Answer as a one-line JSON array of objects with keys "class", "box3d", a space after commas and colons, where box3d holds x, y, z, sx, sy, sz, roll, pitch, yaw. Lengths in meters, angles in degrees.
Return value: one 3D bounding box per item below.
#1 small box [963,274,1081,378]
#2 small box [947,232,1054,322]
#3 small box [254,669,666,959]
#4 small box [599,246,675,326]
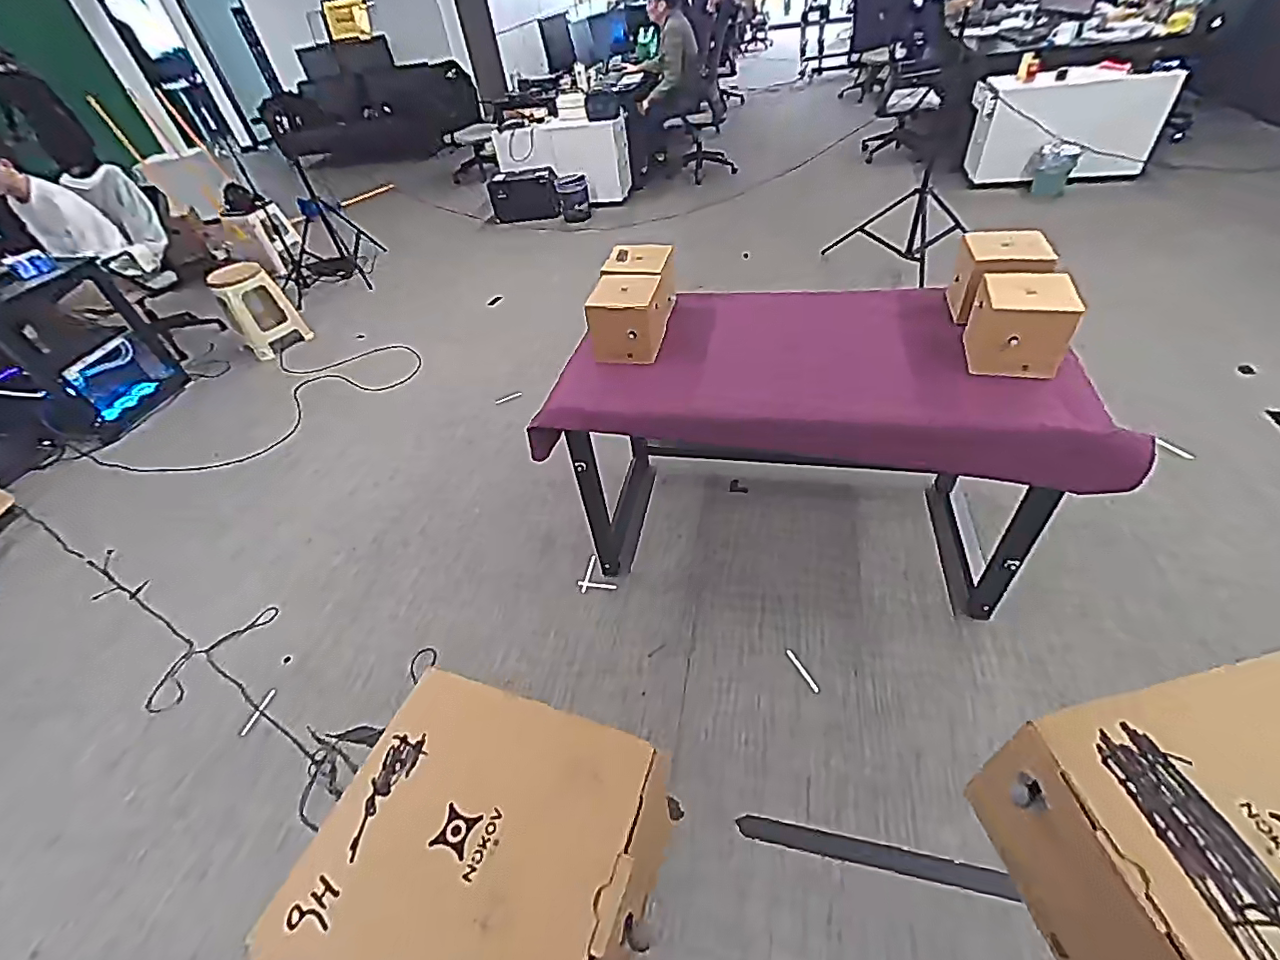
[{"class": "small box", "box3d": [0.848, -0.347, 1.220, 0.168, 0.176, 0.179, 7, 46, 18]}, {"class": "small box", "box3d": [0.896, -0.509, 1.367, 0.179, 0.176, 0.168, 6, 47, 14]}, {"class": "small box", "box3d": [-0.087, 0.261, 0.361, 0.179, 0.176, 0.168, 12, 46, 16]}, {"class": "small box", "box3d": [-0.002, -0.563, 1.572, 0.179, 0.176, 0.168, 7, 48, 14]}]
